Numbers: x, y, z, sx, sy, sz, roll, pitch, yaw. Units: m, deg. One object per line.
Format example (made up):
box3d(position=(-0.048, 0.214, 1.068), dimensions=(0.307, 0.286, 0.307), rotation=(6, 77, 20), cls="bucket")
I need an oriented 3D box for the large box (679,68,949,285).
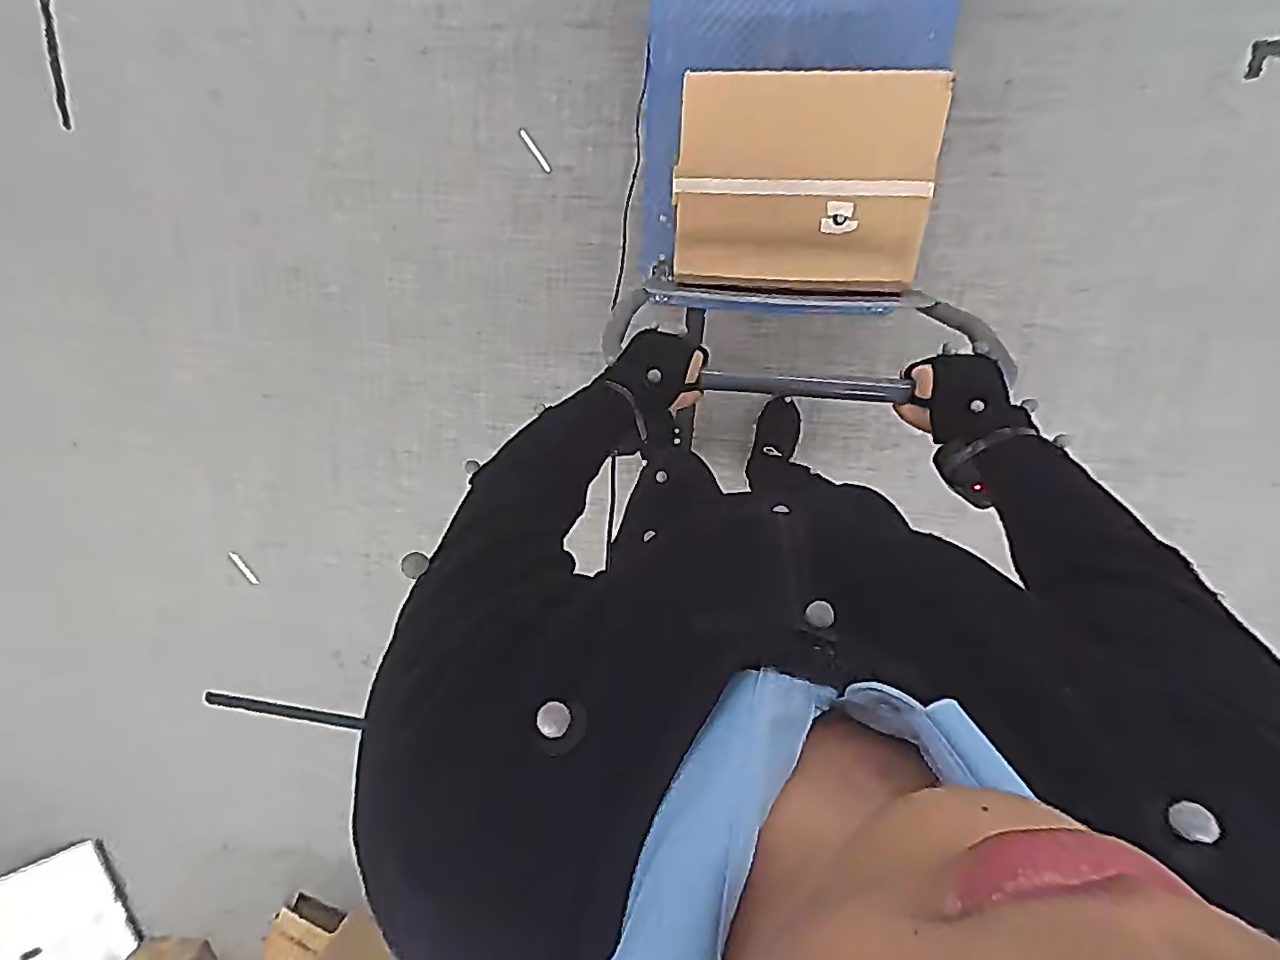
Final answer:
box3d(position=(0.286, -0.543, 1.029), dimensions=(0.408, 0.320, 0.320), rotation=(4, 113, 7), cls="large box")
